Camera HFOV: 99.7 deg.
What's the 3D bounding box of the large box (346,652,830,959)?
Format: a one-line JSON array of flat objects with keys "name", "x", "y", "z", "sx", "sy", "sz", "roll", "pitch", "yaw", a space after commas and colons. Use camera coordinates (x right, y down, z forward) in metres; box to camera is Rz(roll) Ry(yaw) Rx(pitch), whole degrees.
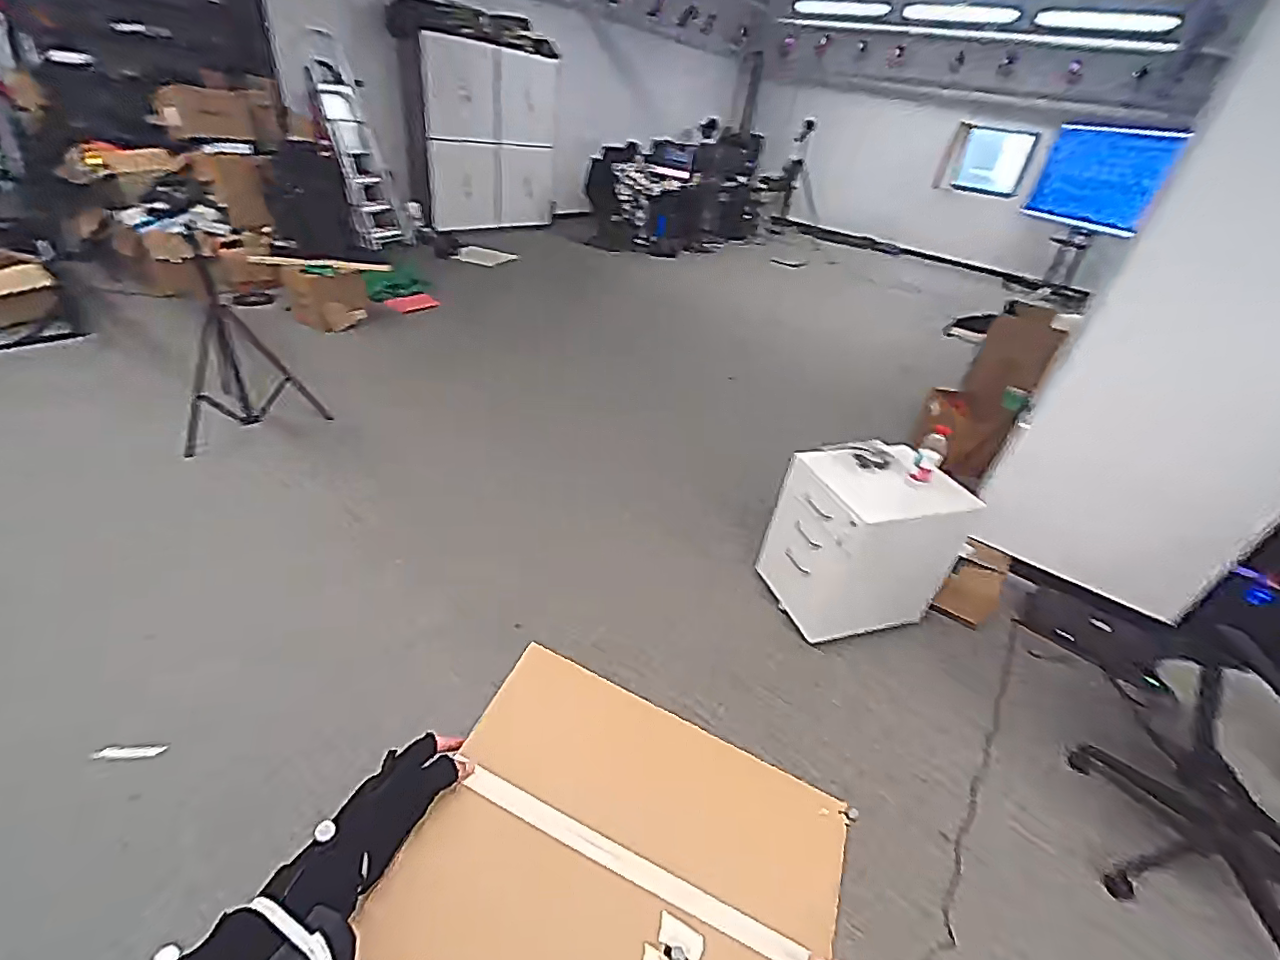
[{"name": "large box", "x": -0.048, "y": 0.481, "z": 0.638, "sx": 0.408, "sy": 0.320, "sz": 0.320, "roll": 24, "pitch": 45, "yaw": 8}]
